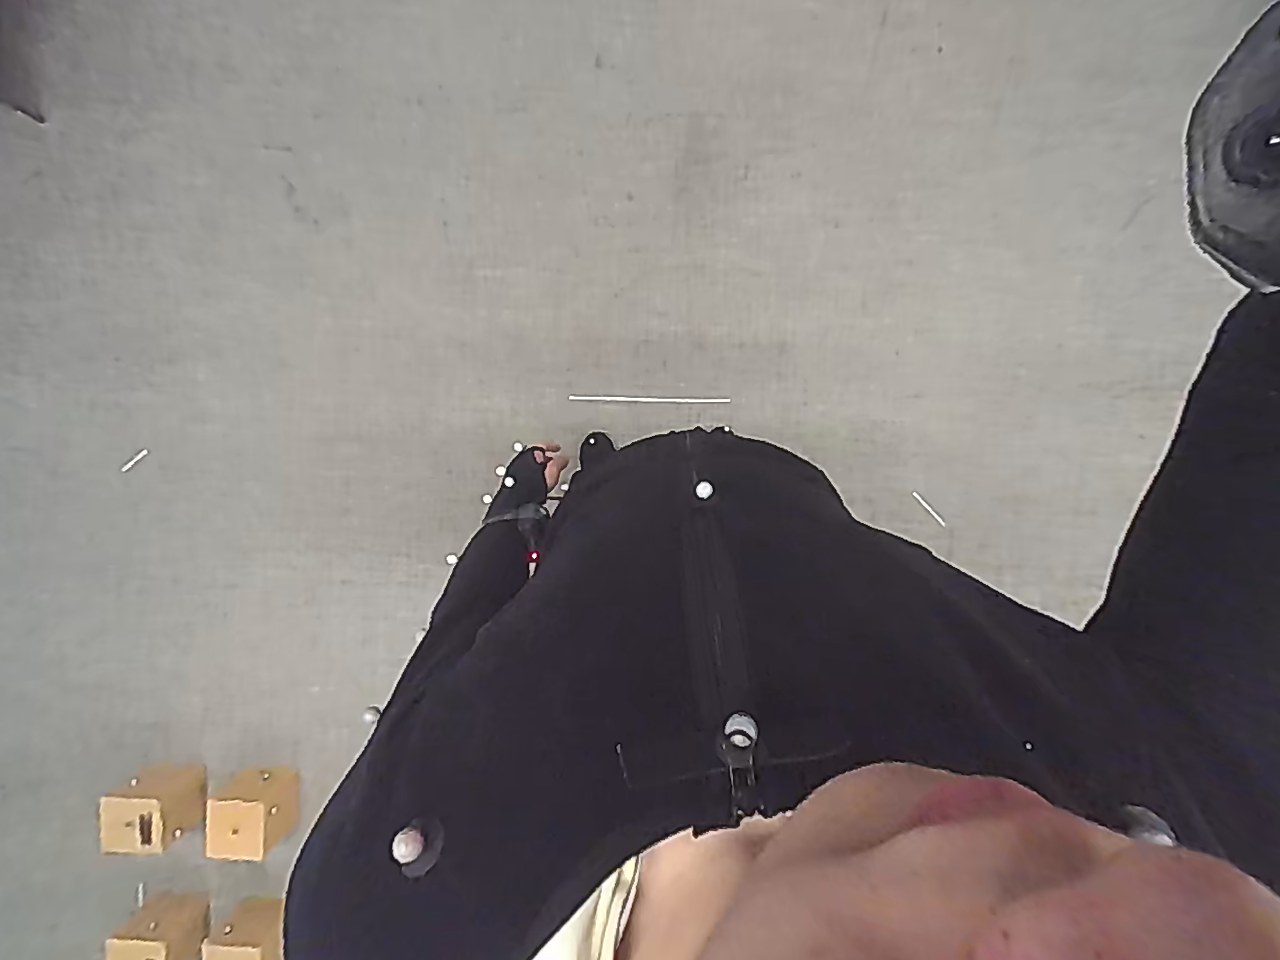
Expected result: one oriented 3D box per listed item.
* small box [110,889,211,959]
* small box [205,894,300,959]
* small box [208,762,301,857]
[{"bbox_3d":[-1.463,1.401,1.660,0.179,0.176,0.168,4,94,1],"label":"small box"},{"bbox_3d":[-1.186,1.418,1.659,0.179,0.176,0.168,3,95,0],"label":"small box"},{"bbox_3d":[-1.151,0.986,1.627,0.168,0.176,0.179,4,94,0],"label":"small box"}]
